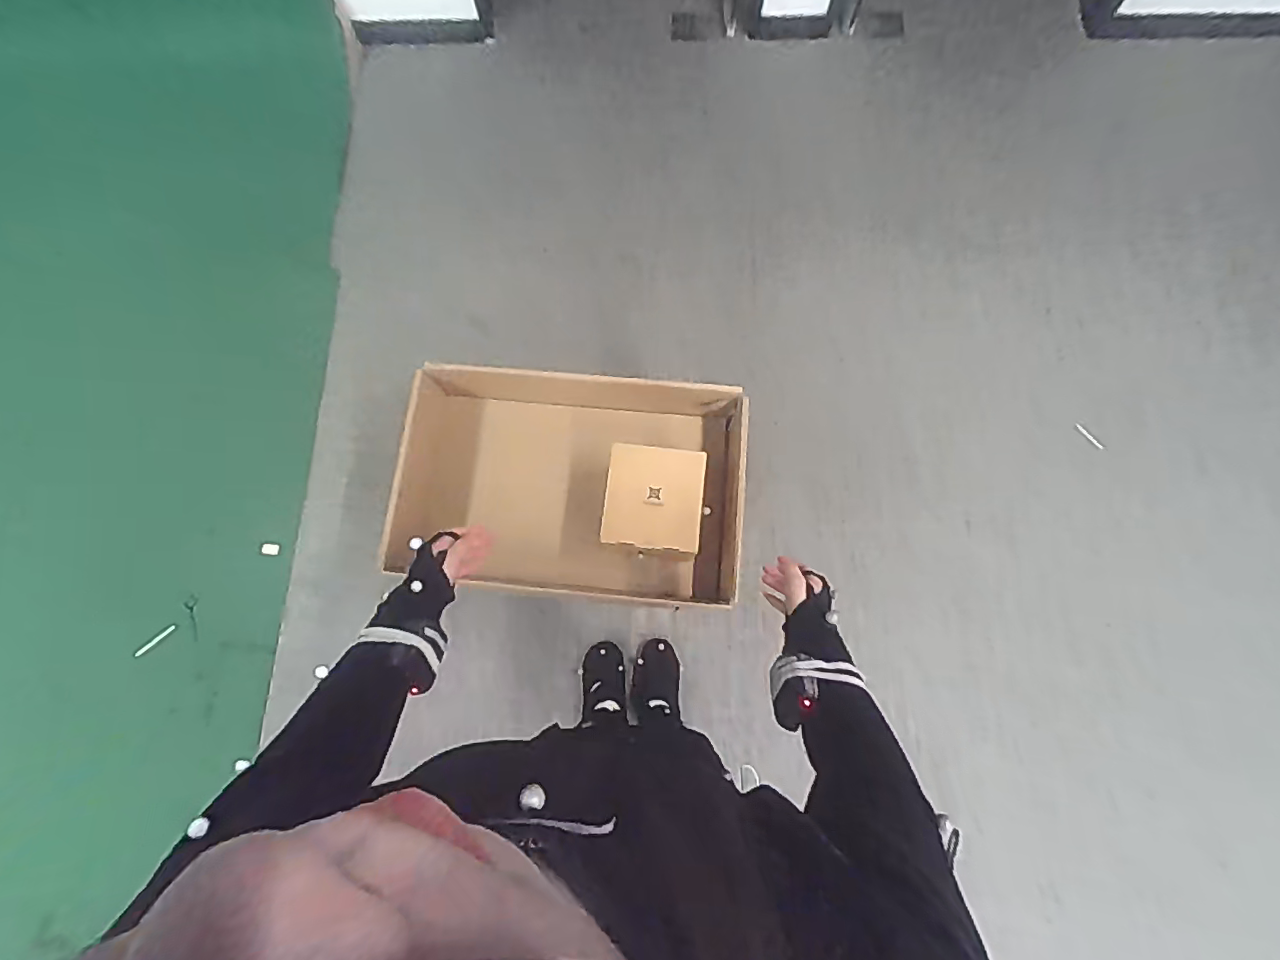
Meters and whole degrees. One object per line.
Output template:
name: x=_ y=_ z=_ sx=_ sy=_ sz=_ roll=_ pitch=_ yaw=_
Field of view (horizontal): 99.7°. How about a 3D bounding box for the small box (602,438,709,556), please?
small box: x=0.028 y=0.038 z=0.989 sx=0.168 sy=0.176 sz=0.179 roll=6 pitch=78 yaw=3
